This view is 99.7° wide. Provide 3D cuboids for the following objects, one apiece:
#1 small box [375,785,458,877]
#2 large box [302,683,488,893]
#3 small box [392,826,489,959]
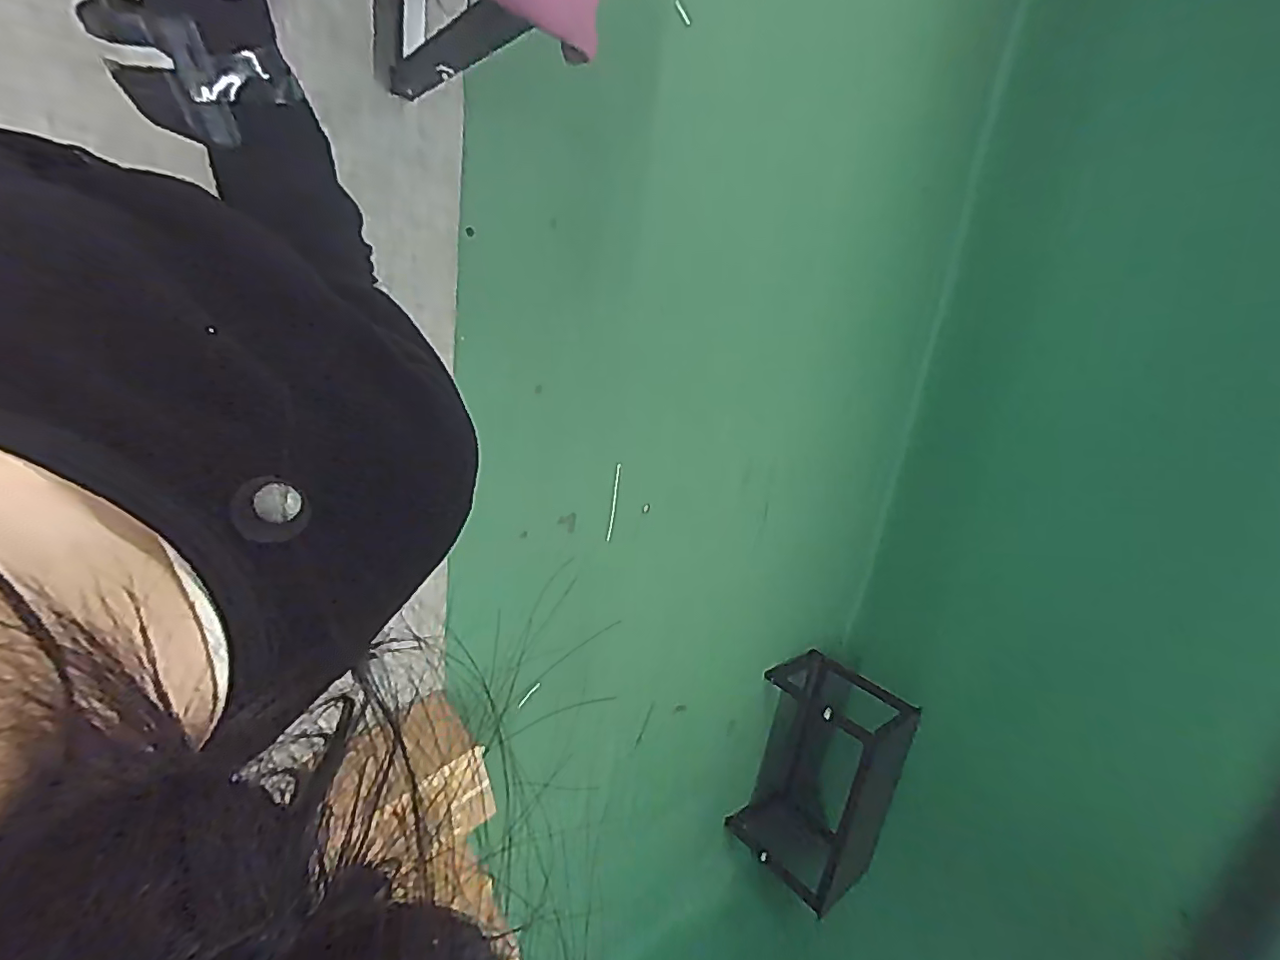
[{"bbox_3d":[-0.604,0.973,1.472,0.168,0.176,0.179,-16,118,-38],"label":"small box"},{"bbox_3d":[-0.745,0.920,1.670,0.408,0.320,0.320,-24,123,-36],"label":"large box"},{"bbox_3d":[-0.501,1.028,1.359,0.179,0.176,0.168,-15,117,-38],"label":"small box"}]
